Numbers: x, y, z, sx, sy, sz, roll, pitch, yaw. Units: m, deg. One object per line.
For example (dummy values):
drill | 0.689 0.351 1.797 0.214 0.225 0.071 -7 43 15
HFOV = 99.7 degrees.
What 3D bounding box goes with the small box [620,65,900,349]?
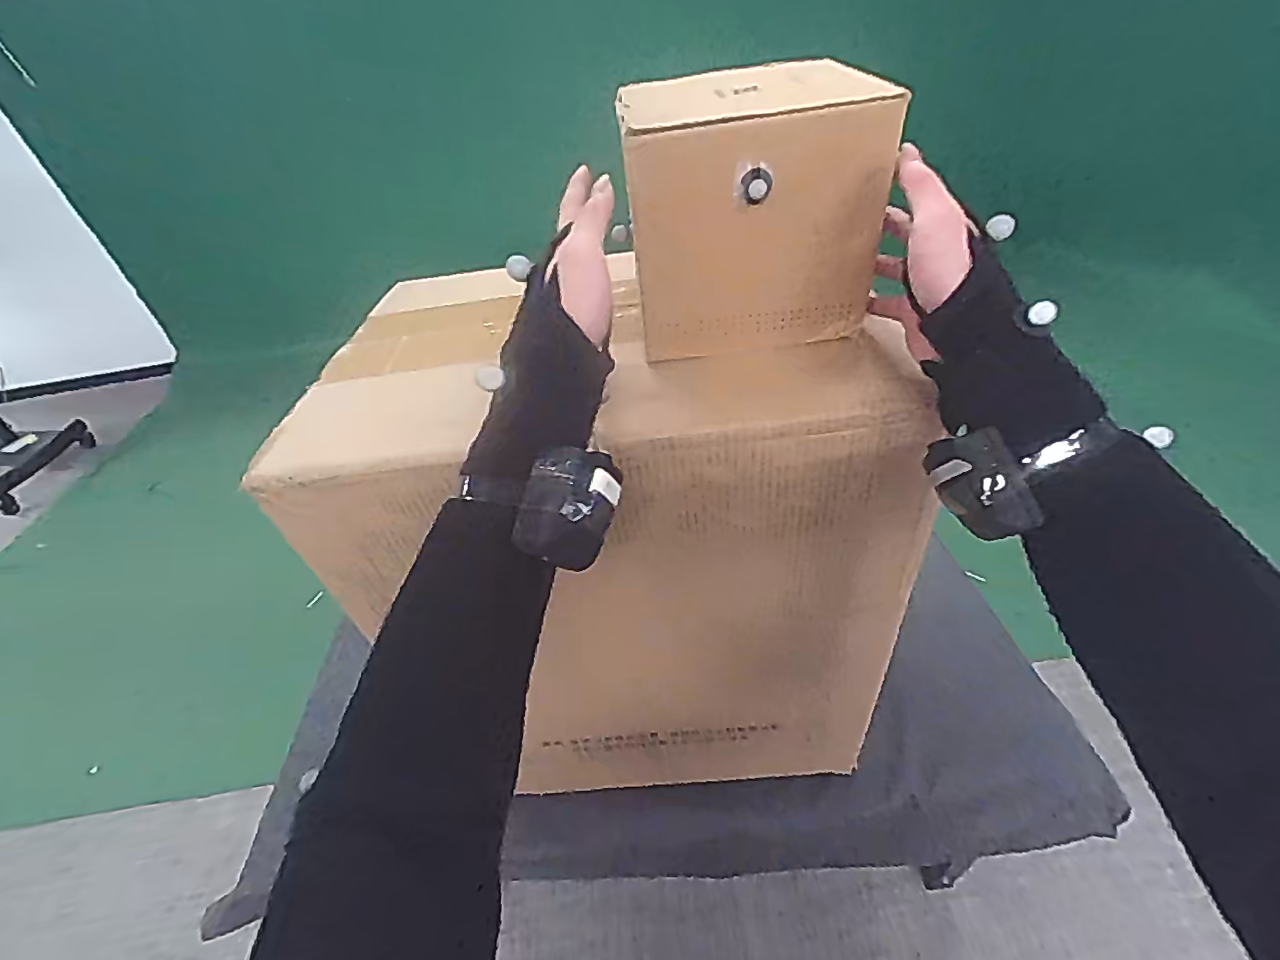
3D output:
small box | 0.081 -0.222 0.448 0.179 0.176 0.168 -5 44 1
